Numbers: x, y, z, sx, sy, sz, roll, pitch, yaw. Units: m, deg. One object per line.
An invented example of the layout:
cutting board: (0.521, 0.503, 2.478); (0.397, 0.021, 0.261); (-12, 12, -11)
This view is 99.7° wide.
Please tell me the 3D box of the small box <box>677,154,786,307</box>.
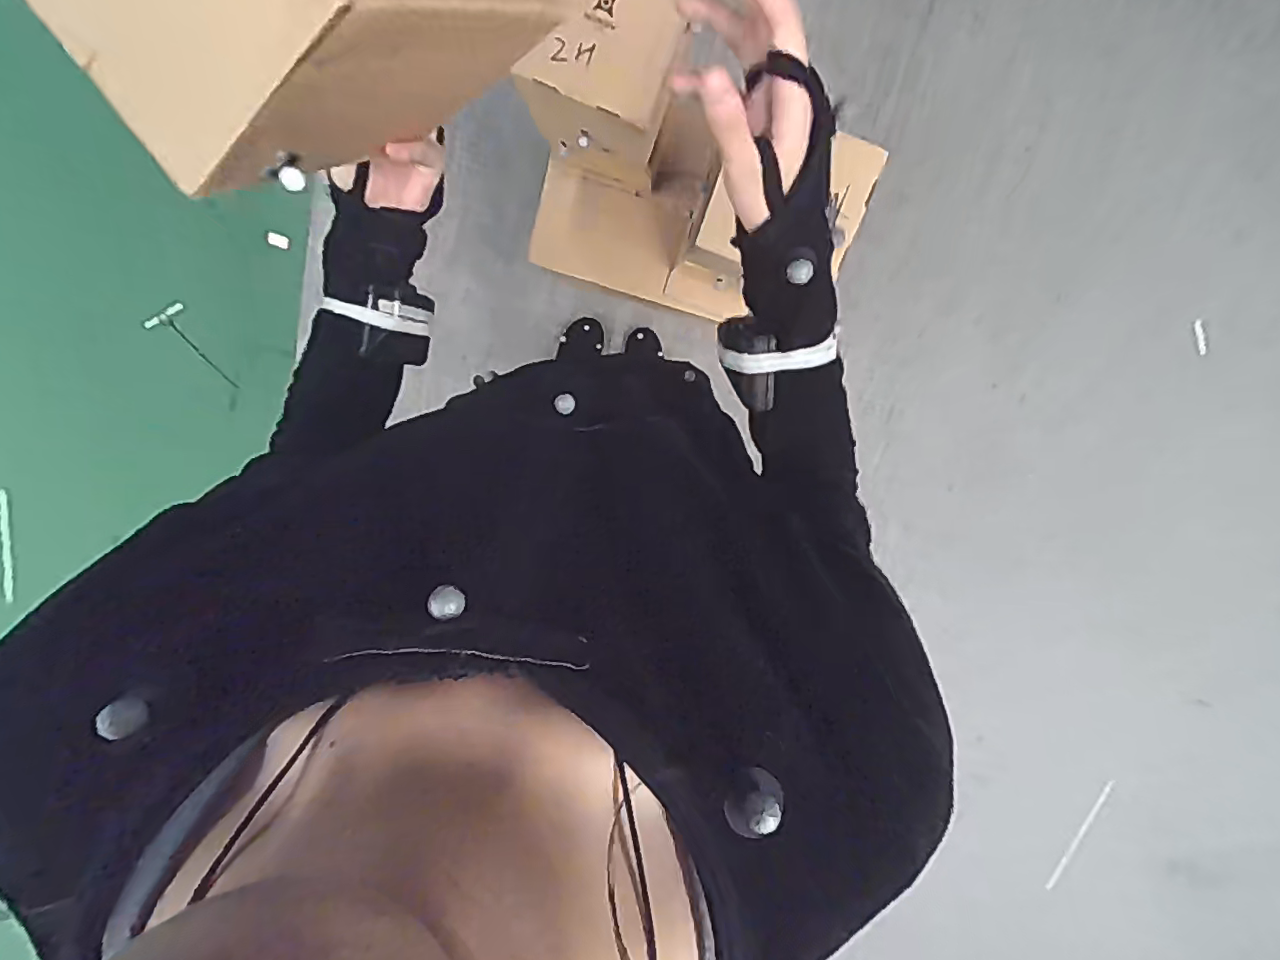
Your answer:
small box: (0.165, -0.380, 0.860); (0.179, 0.176, 0.168); (19, 107, -4)

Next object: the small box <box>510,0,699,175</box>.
small box: (-0.037, -0.512, 0.659); (0.168, 0.176, 0.179); (21, 105, -4)

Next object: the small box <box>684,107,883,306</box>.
small box: (0.169, -0.336, 0.702); (0.179, 0.176, 0.168); (19, 105, -5)
